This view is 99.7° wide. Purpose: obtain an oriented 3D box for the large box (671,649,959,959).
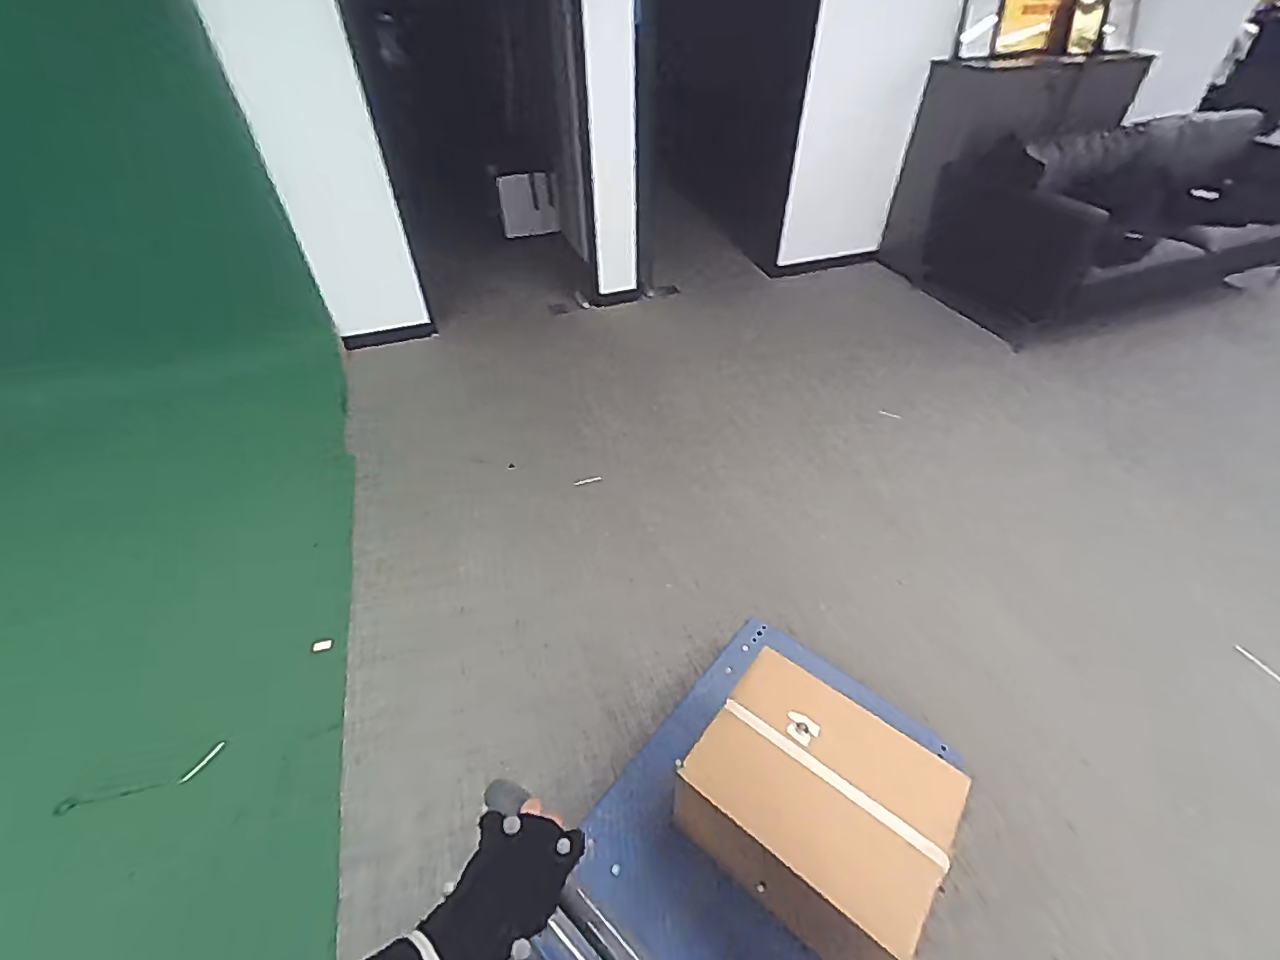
[{"bbox_3d":[0.308,0.617,1.039,0.408,0.320,0.320,29,51,29],"label":"large box"}]
